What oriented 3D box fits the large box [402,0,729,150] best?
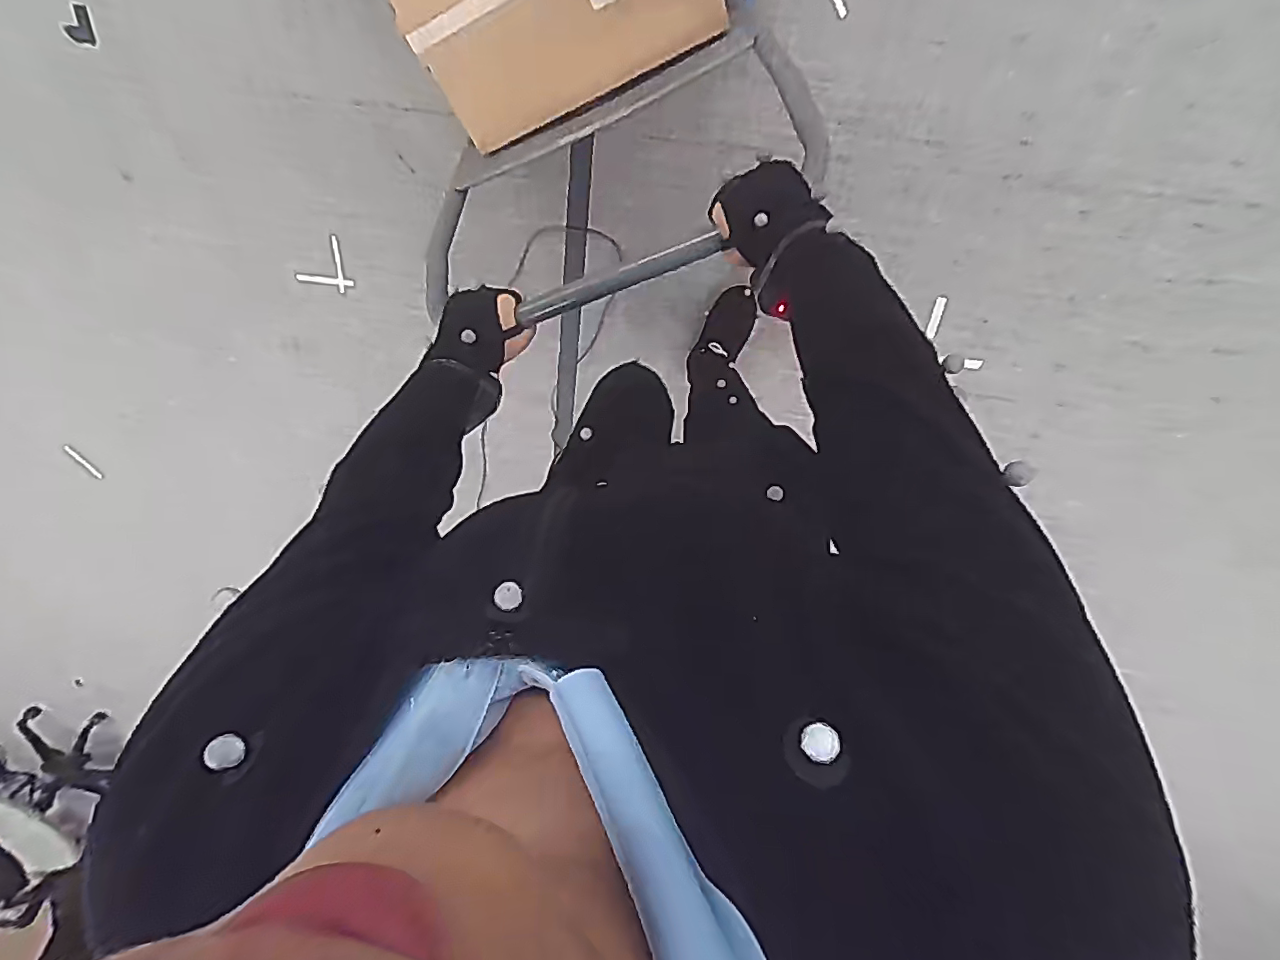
[{"bbox_3d":[-0.123,-0.777,0.793,0.408,0.320,0.320,-18,137,16],"label":"large box"}]
